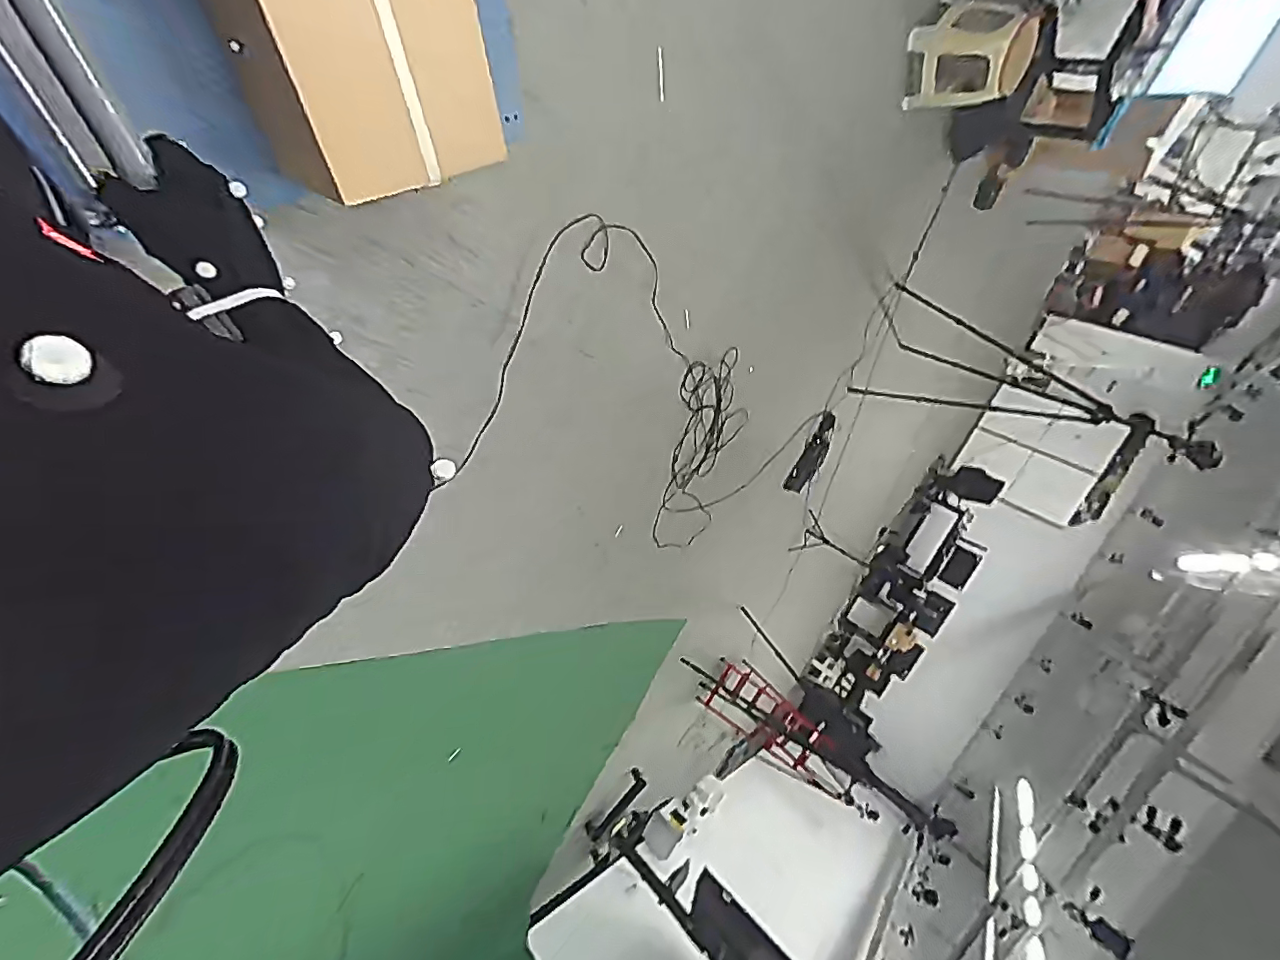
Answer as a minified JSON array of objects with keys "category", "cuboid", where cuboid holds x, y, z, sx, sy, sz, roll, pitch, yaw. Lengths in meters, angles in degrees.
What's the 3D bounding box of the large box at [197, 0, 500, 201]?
[{"category":"large box","cuboid":[-0.485,-0.726,0.873,0.320,0.320,0.408,-36,140,-28]}]
